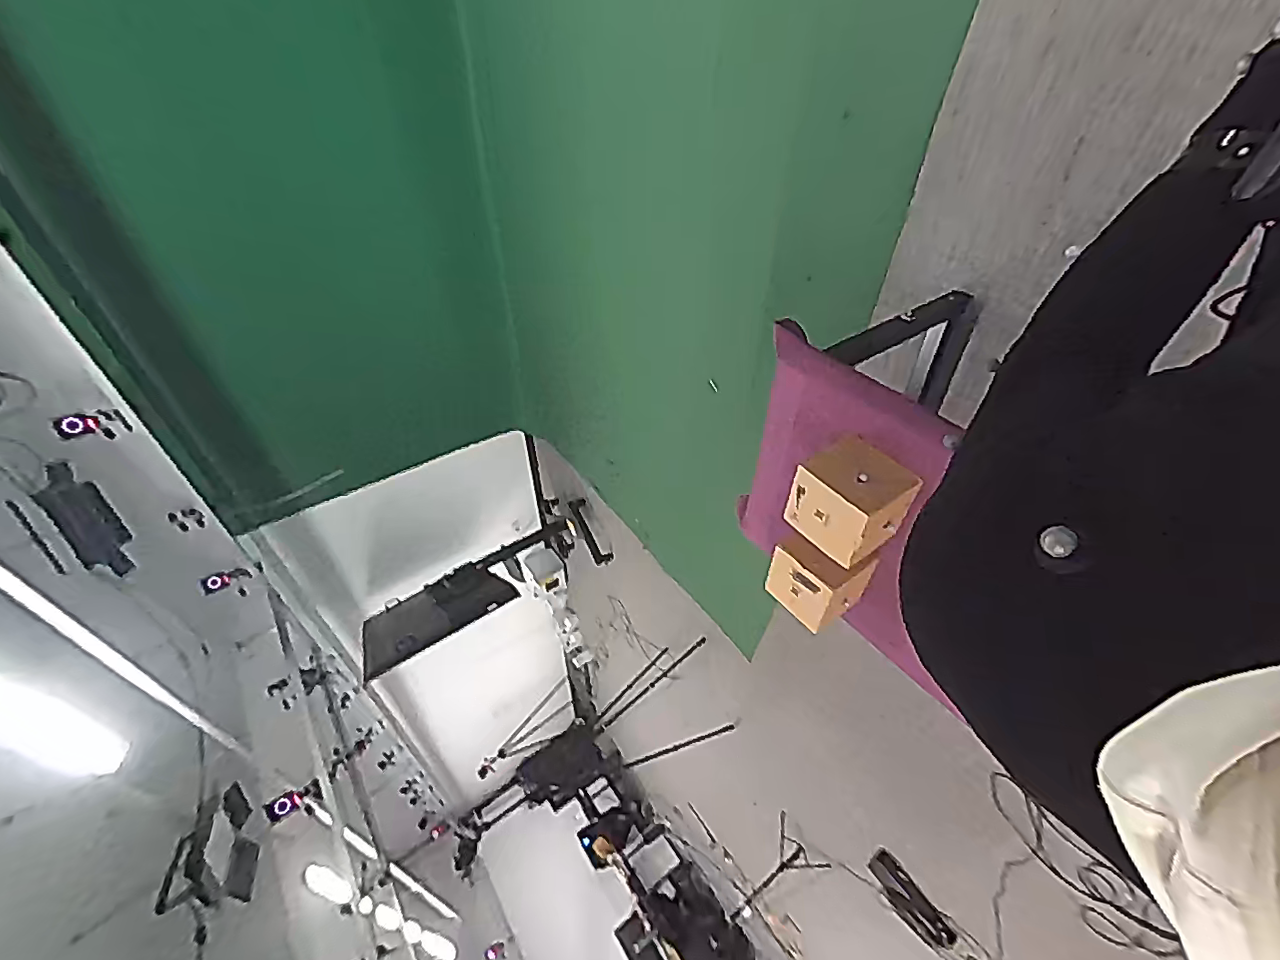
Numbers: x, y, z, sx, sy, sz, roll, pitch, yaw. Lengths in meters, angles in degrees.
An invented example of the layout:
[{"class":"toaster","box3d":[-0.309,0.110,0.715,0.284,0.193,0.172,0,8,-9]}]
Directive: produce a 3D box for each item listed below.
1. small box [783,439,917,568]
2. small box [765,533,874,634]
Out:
[{"class":"small box","box3d":[0.430,0.042,1.117,0.179,0.176,0.168,44,149,34]},{"class":"small box","box3d":[0.428,0.223,1.291,0.168,0.176,0.179,44,148,36]}]
